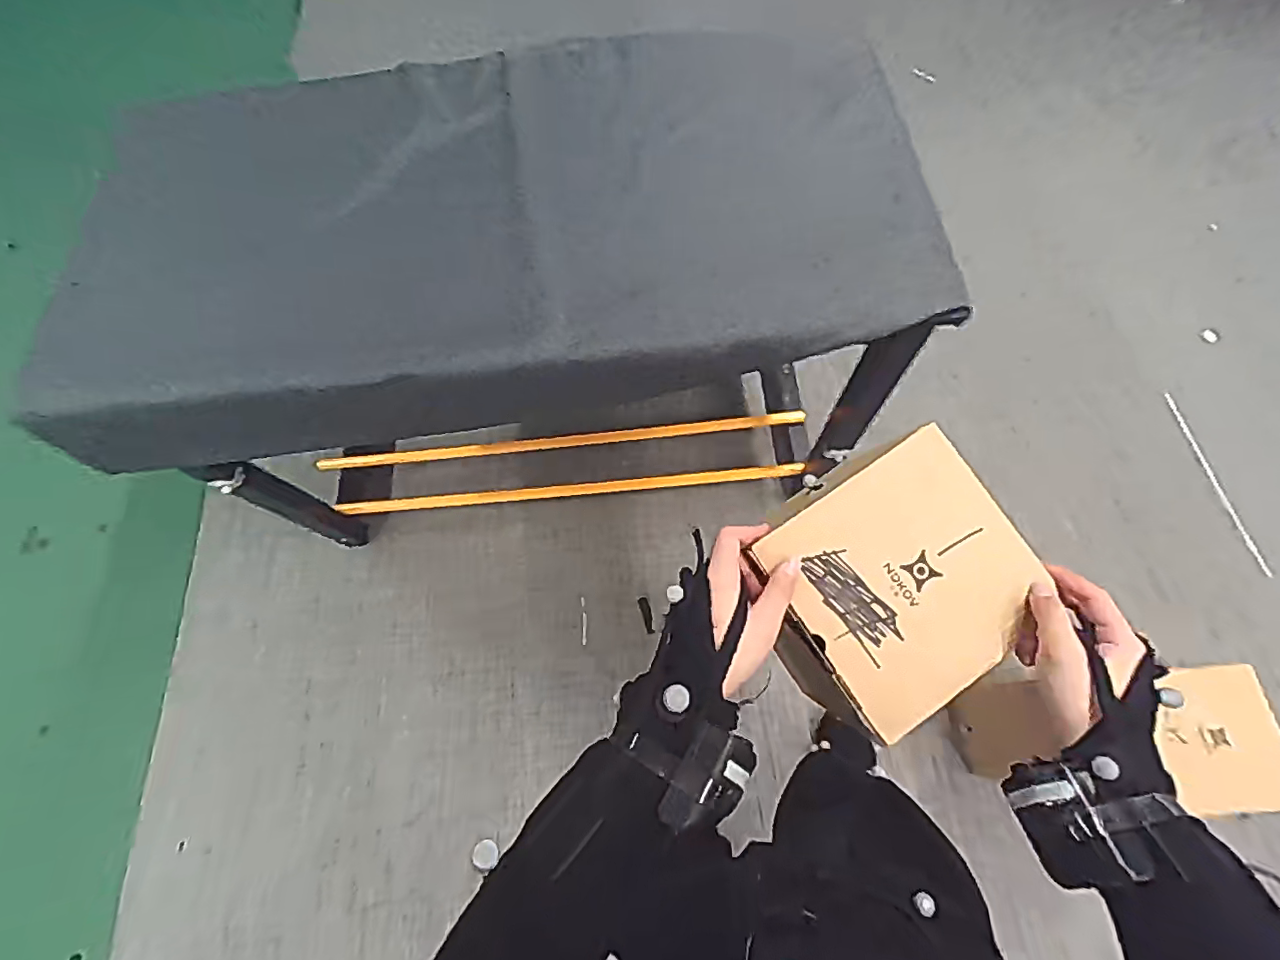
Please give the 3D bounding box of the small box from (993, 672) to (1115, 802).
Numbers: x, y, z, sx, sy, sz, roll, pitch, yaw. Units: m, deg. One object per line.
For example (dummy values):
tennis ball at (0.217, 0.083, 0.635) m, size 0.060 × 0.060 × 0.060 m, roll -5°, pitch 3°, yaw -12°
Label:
small box at (0.731, 0.413, 0.893) m, size 0.168 × 0.176 × 0.179 m, roll -6°, pitch 67°, yaw 1°

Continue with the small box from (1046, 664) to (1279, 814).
small box at (0.718, 0.345, 0.743) m, size 0.179 × 0.176 × 0.168 m, roll -5°, pitch 68°, yaw 2°

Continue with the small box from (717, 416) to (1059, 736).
small box at (0.182, 0.076, 0.463) m, size 0.179 × 0.176 × 0.168 m, roll -34°, pitch 84°, yaw -7°

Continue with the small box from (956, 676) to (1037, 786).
small box at (0.748, 0.475, 1.043) m, size 0.168 × 0.176 × 0.179 m, roll -4°, pitch 69°, yaw 3°
